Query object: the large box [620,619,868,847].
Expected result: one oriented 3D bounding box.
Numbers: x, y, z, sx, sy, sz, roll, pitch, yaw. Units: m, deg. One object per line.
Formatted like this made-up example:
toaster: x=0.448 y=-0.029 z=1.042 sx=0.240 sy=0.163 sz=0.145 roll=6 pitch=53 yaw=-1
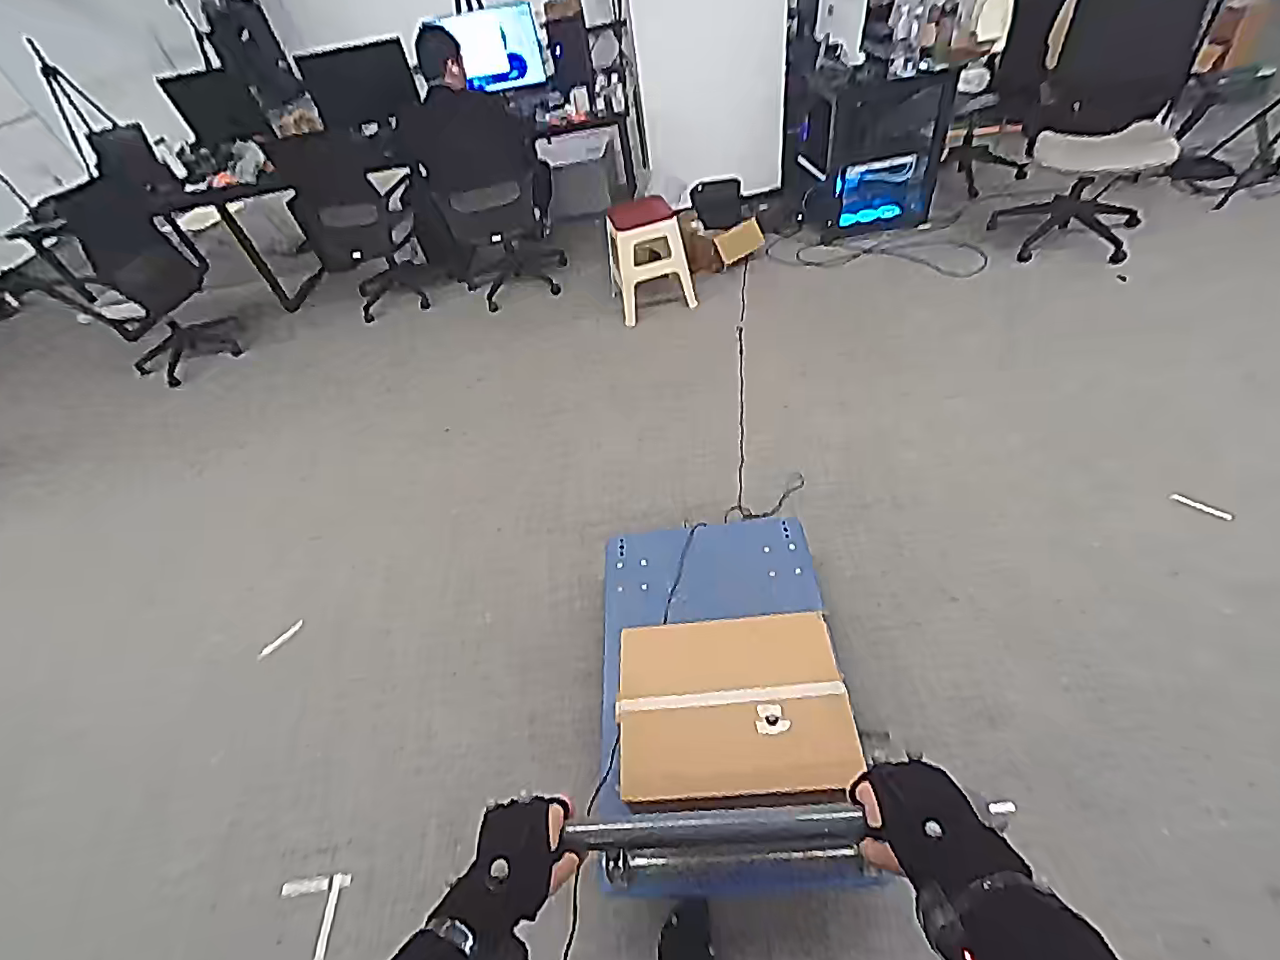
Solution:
large box: x=0.181 y=0.508 z=1.075 sx=0.408 sy=0.320 sz=0.320 roll=-6 pitch=47 yaw=5
